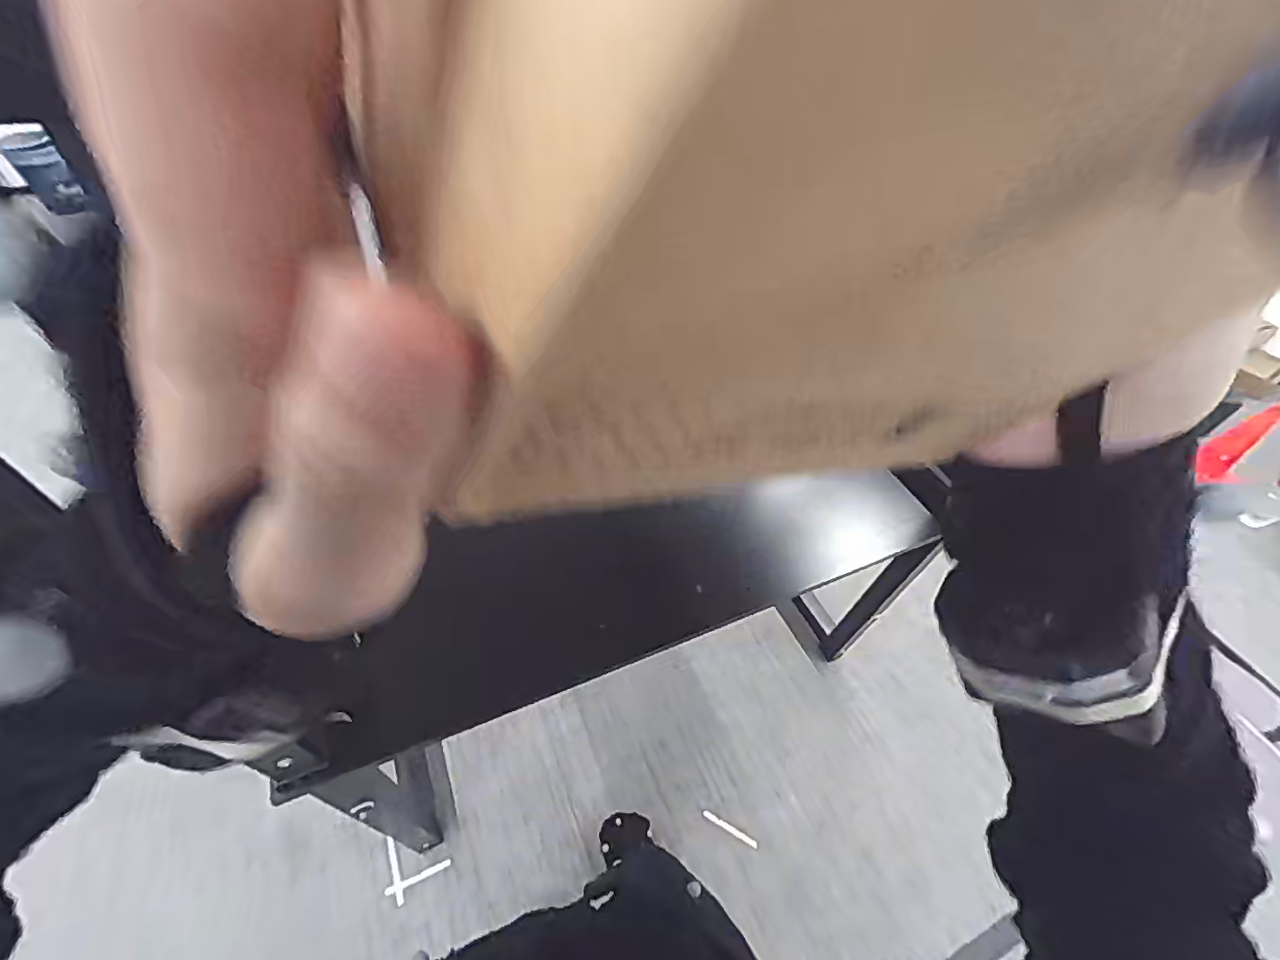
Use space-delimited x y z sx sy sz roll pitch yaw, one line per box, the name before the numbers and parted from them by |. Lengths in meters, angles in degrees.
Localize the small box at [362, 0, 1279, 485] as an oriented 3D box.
small box | 0.053 -0.107 0.098 0.168 0.176 0.179 -6 68 -35
